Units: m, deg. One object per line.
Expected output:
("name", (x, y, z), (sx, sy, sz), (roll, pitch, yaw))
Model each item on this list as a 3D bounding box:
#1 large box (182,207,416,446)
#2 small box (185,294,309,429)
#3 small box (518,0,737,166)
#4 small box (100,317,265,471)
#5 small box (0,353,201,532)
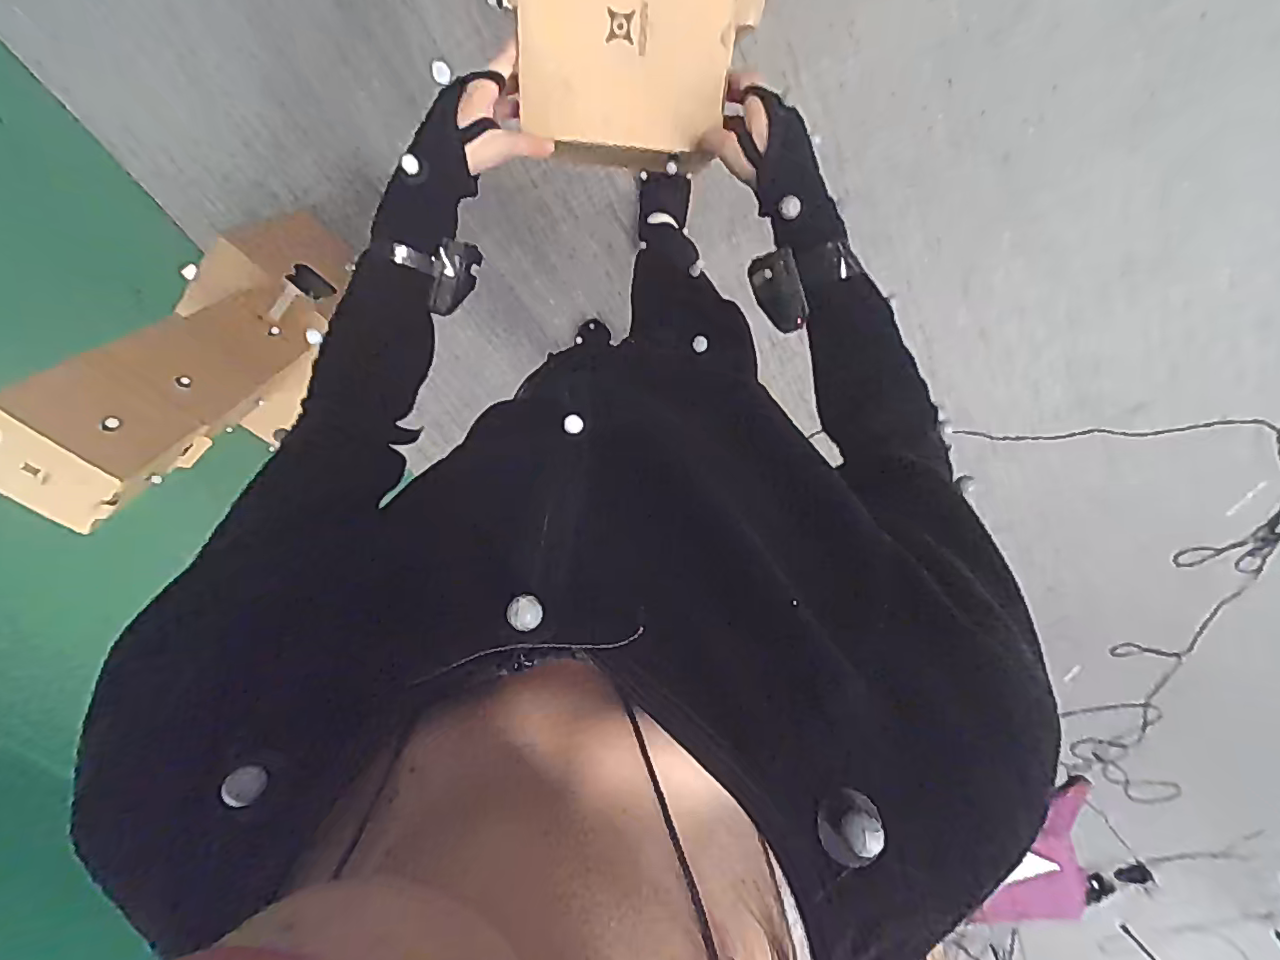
("large box", (-0.827, -0.369, 1.310), (0.408, 0.320, 0.320), (-37, 115, 27))
("small box", (-0.820, -0.243, 1.099), (0.179, 0.176, 0.168), (-34, 118, 24))
("small box", (-0.011, -0.401, 0.504), (0.179, 0.176, 0.168), (3, 114, -3))
("small box", (-0.823, -0.156, 0.960), (0.168, 0.176, 0.179), (-32, 118, 23))
("small box", (-0.836, -0.060, 0.826), (0.168, 0.176, 0.179), (-33, 119, 24))
